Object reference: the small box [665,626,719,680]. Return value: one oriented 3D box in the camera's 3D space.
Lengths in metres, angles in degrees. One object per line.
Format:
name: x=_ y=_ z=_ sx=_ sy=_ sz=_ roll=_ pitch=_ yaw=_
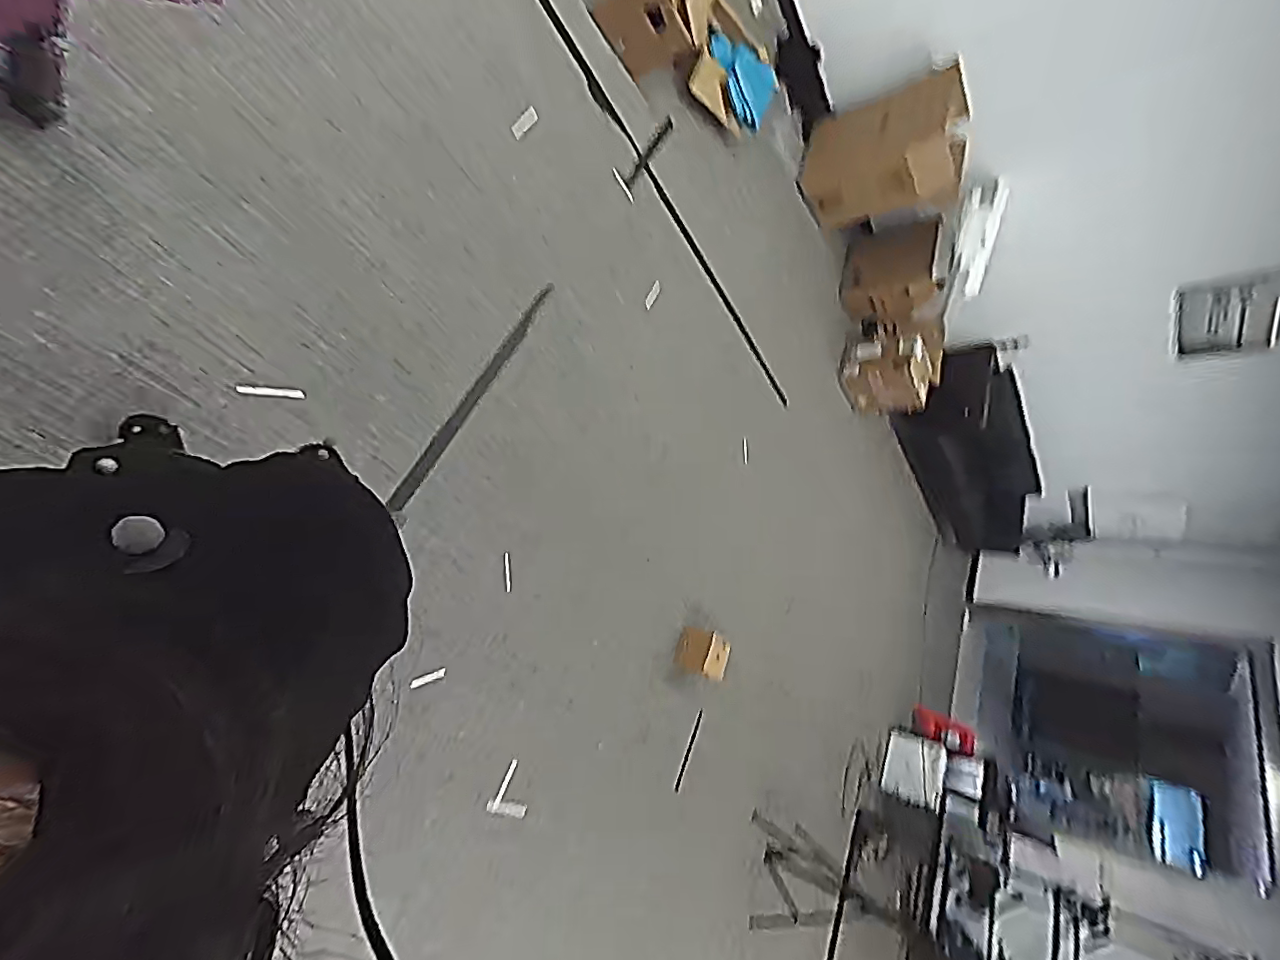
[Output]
small box: x=0.238 y=0.803 z=2.520 sx=0.168 sy=0.176 sz=0.179 roll=45 pitch=58 yaw=-39
